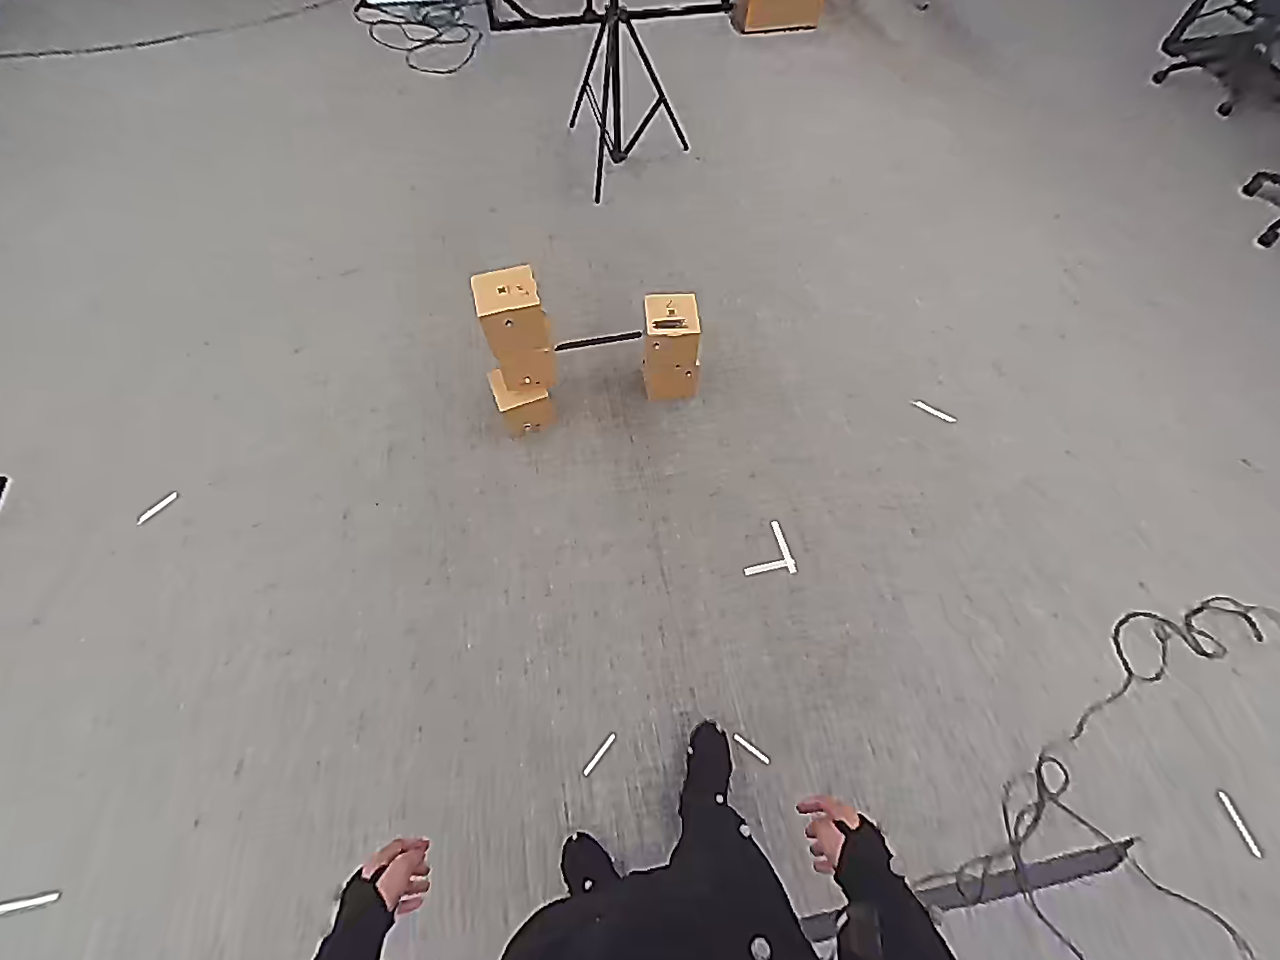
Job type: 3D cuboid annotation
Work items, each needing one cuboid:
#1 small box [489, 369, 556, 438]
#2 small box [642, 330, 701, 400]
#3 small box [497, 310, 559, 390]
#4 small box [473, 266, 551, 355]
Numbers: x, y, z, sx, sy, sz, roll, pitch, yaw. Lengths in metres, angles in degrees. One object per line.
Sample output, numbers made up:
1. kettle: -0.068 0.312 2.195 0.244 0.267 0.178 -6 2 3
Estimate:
1. small box: -0.394 -0.272 1.827 0.168 0.176 0.179 -20 64 -10
2. small box: 0.106 -0.399 1.897 0.179 0.176 0.168 -9 62 -6
3. small box: -0.354 -0.409 1.715 0.168 0.176 0.179 -7 62 -3
4. small box: -0.369 -0.485 1.569 0.179 0.176 0.168 -13 62 -6
